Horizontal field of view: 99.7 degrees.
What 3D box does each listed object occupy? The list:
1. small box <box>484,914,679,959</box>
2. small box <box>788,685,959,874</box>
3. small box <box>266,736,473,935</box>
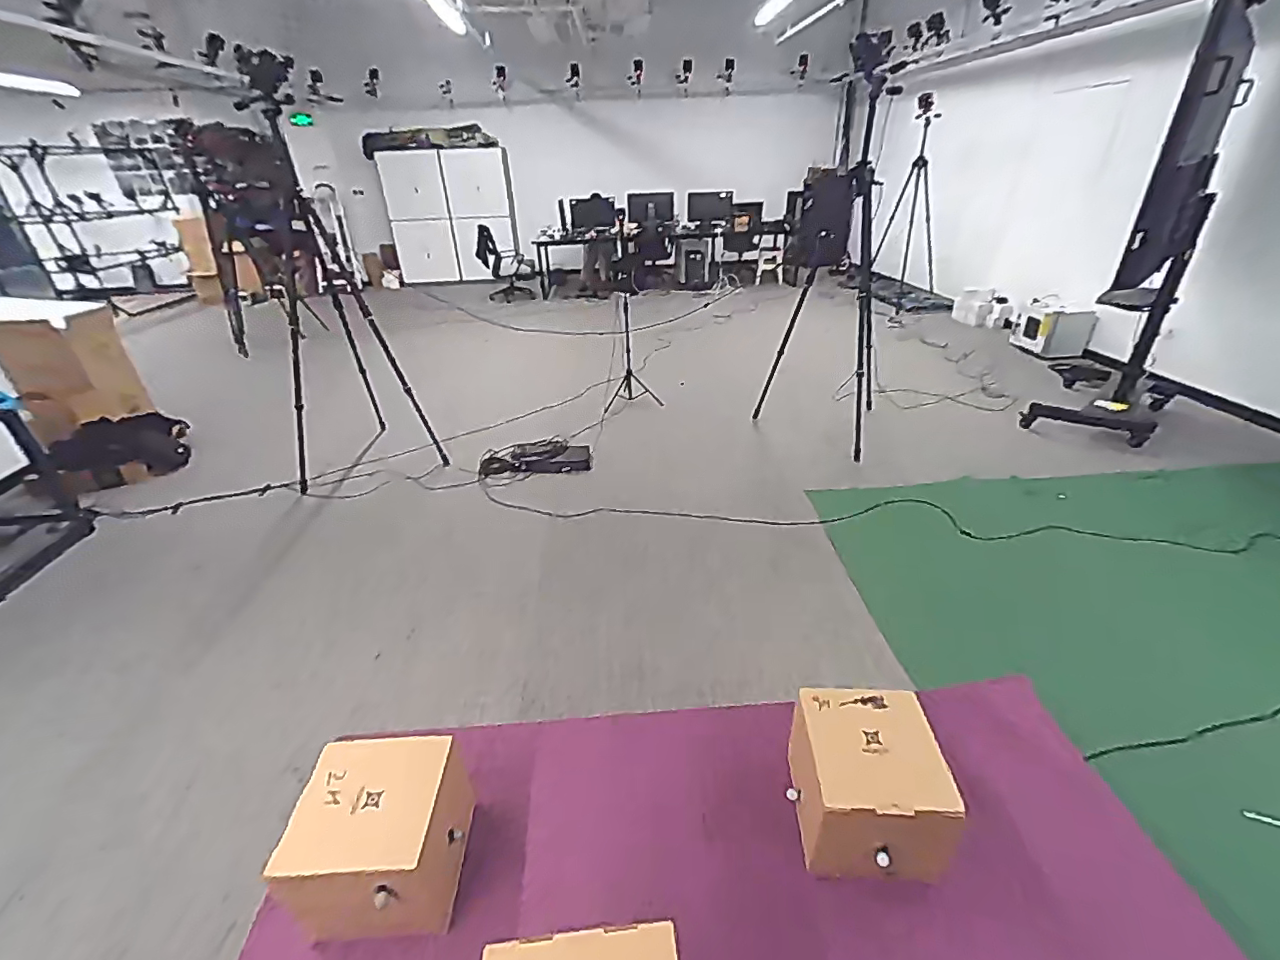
[{"bbox_3d":[-0.040,0.496,0.433,0.168,0.176,0.179,-7,30,-1],"label":"small box"},{"bbox_3d":[0.306,0.413,0.752,0.168,0.176,0.179,0,31,5],"label":"small box"},{"bbox_3d":[-0.335,0.469,0.718,0.179,0.176,0.168,-3,30,0],"label":"small box"}]
